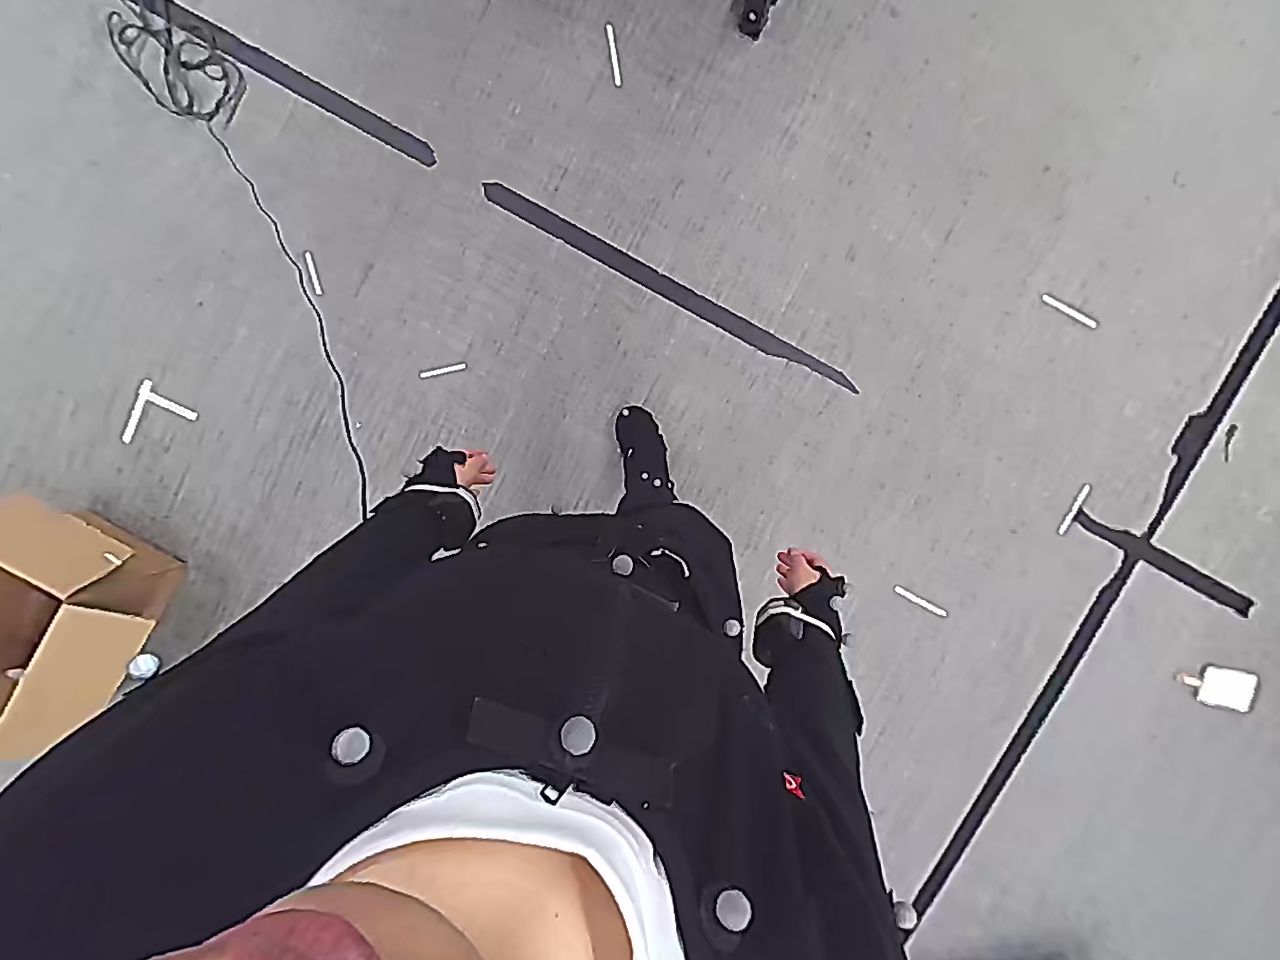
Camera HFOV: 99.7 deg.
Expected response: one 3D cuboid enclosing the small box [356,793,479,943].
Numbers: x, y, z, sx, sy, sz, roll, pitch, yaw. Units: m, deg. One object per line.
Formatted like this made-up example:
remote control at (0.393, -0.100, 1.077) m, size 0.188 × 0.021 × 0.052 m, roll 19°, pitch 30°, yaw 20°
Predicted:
small box at (-0.478, 0.843, 1.192) m, size 0.168 × 0.176 × 0.179 m, roll 25°, pitch 94°, yaw -2°
